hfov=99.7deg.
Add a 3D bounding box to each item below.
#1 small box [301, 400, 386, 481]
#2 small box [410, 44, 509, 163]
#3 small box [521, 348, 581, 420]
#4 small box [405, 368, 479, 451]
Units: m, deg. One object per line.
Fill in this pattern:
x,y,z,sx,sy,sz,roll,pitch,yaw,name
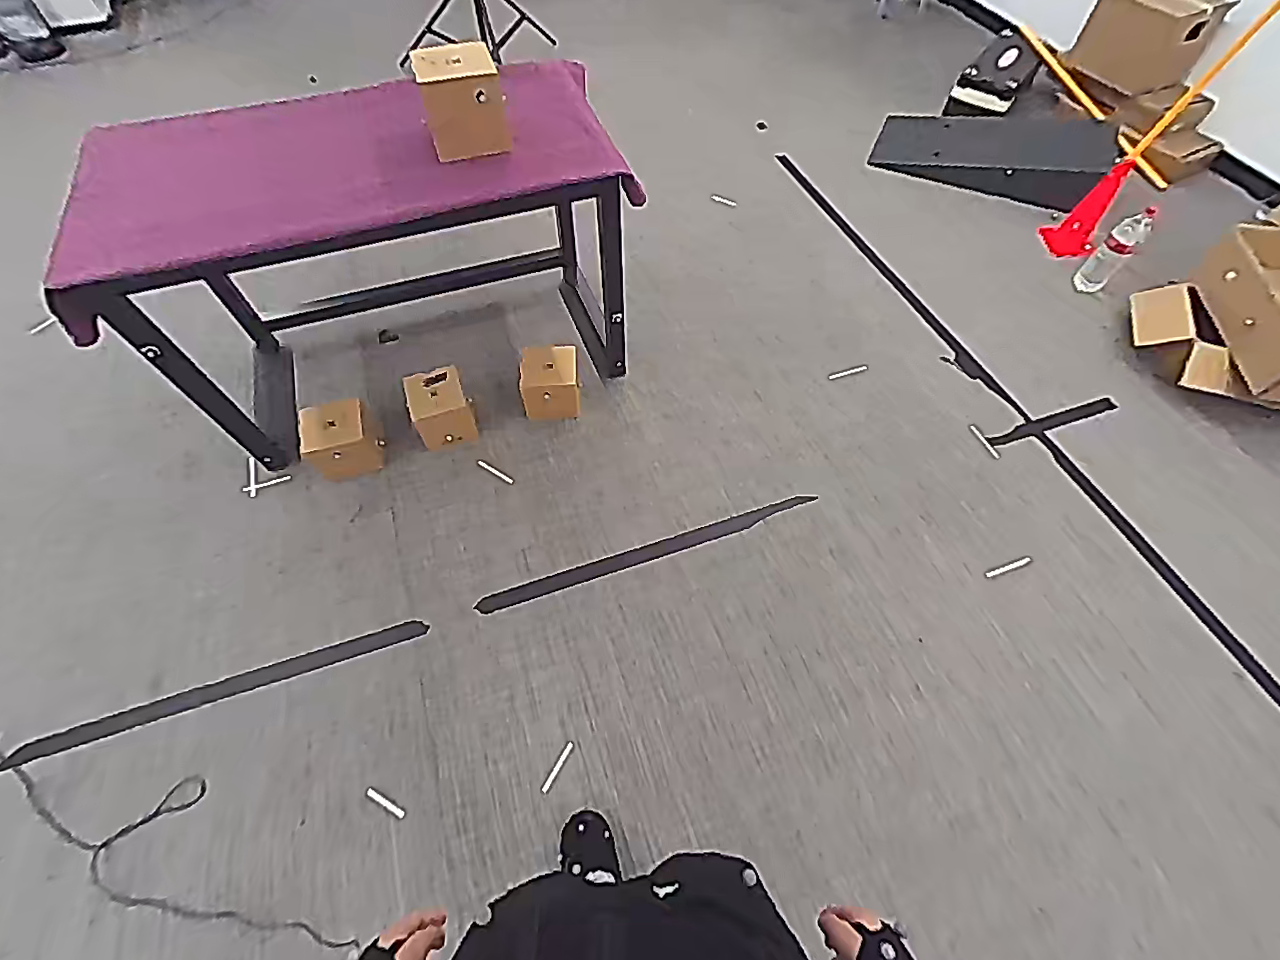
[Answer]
-0.907,-0.116,1.660,0.179,0.176,0.168,-15,61,-10,small box
-0.413,-0.876,1.264,0.179,0.176,0.168,-16,60,-9,small box
-0.287,-0.314,1.781,0.179,0.176,0.168,-3,60,-1,small box
-0.627,-0.222,1.722,0.168,0.176,0.179,-18,62,-11,small box
